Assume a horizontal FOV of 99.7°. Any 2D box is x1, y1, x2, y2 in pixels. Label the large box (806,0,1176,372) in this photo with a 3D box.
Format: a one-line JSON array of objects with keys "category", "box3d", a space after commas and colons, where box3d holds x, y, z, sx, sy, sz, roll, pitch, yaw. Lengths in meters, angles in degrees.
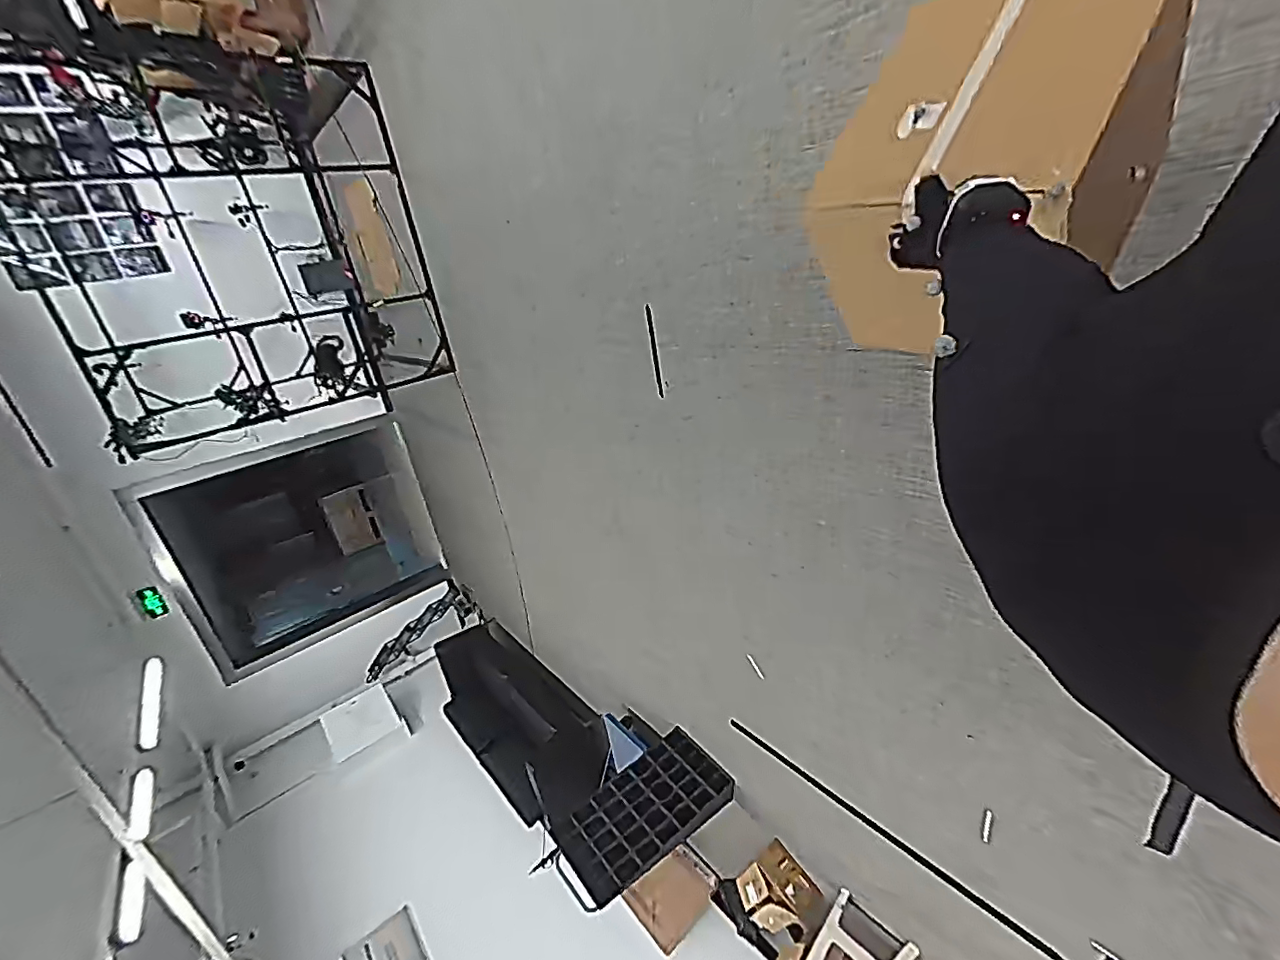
[{"category": "large box", "box3d": [0.512, -0.427, 0.797, 0.320, 0.408, 0.320, 21, 168, 44]}]
